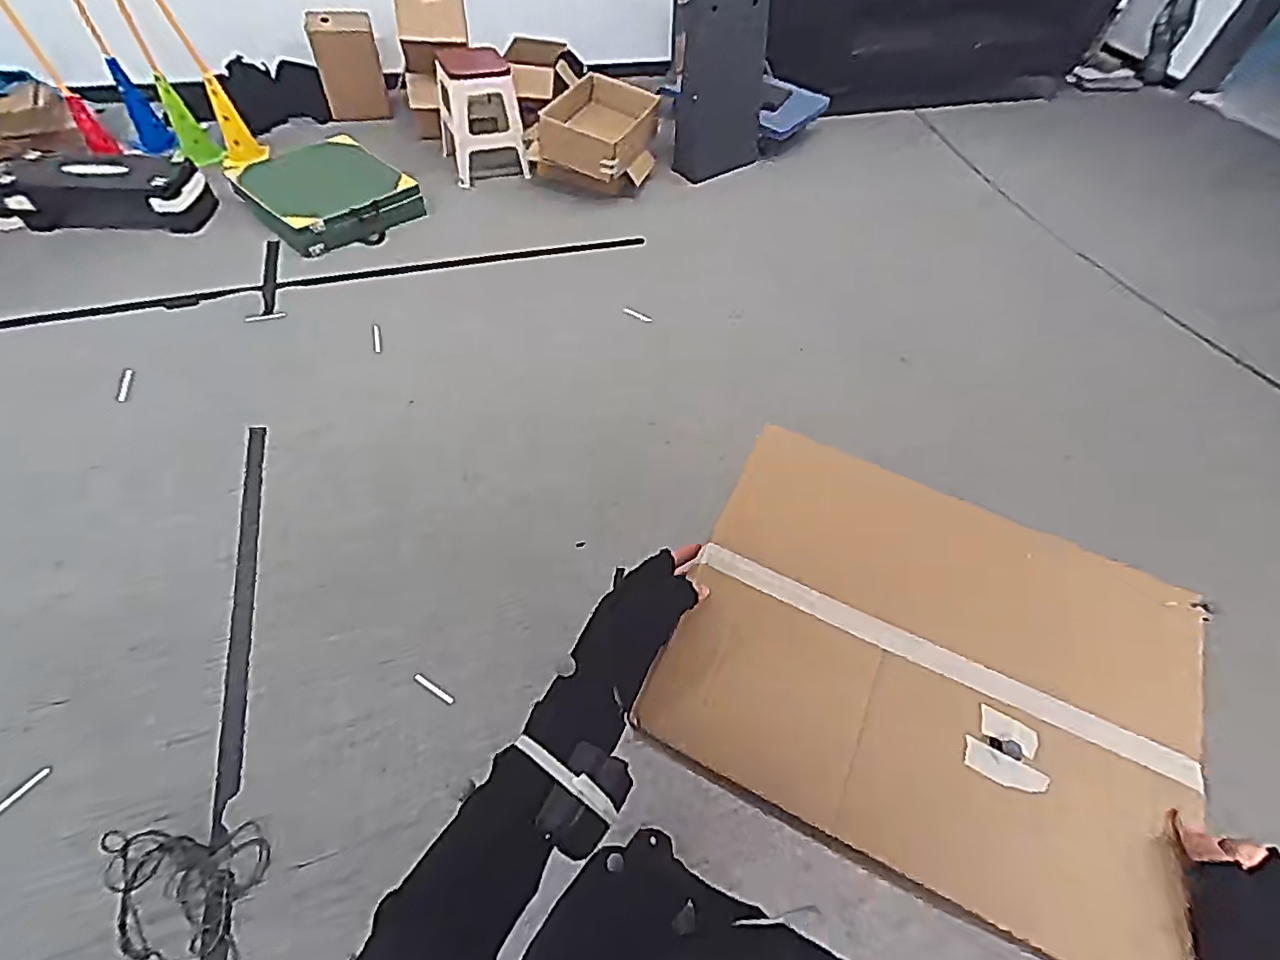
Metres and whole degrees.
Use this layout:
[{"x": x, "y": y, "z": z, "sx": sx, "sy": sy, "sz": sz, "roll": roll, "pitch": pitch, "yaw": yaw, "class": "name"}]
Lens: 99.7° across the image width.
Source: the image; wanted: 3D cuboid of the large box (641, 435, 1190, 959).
[{"x": 0.243, "y": 0.216, "z": 0.594, "sx": 0.408, "sy": 0.320, "sz": 0.320, "roll": 25, "pitch": 67, "yaw": 12, "class": "large box"}]
